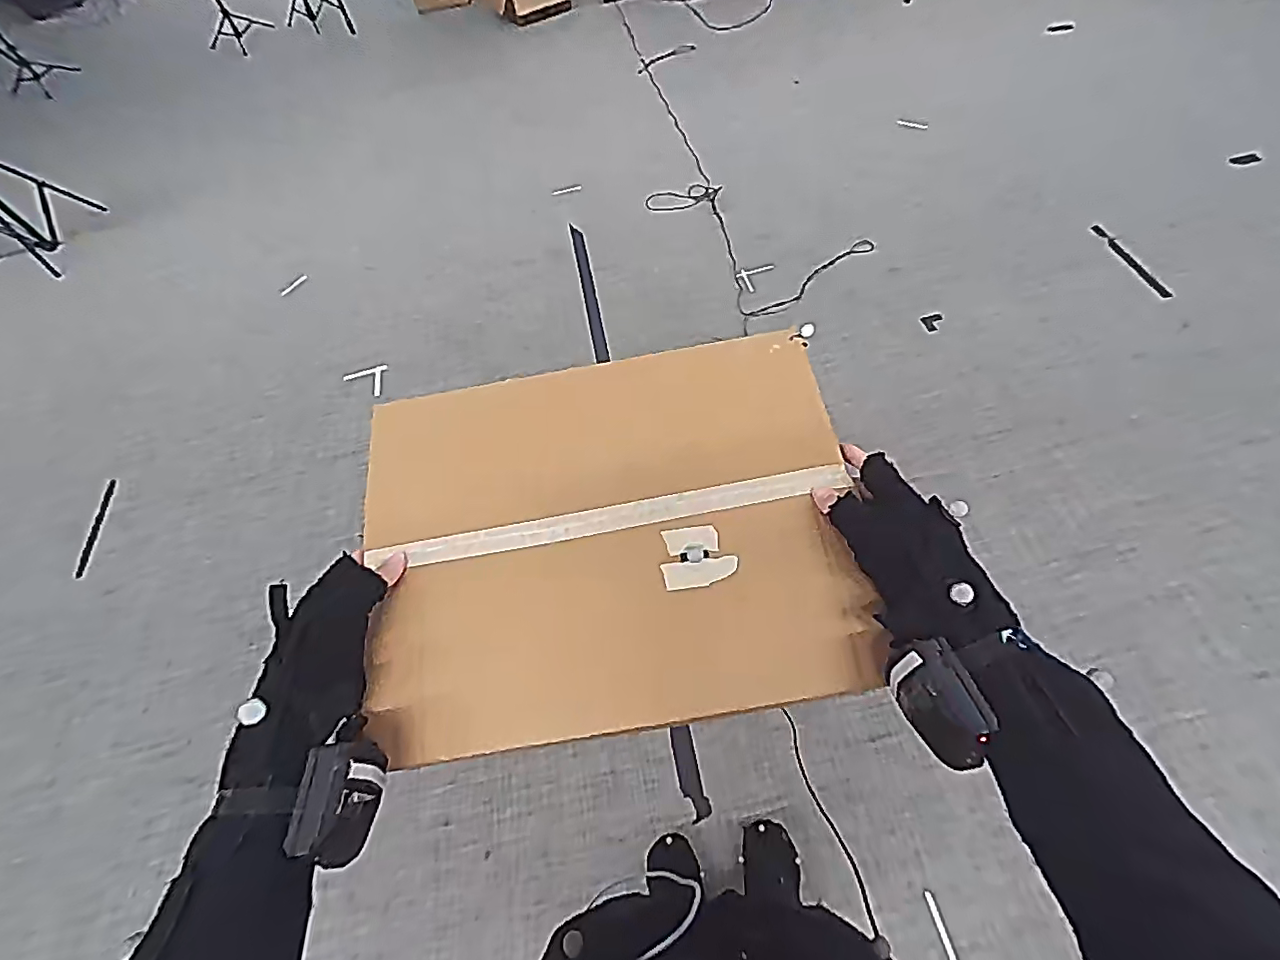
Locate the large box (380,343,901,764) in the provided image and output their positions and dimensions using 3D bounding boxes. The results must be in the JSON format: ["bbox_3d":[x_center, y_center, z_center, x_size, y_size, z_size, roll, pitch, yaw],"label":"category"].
[{"bbox_3d":[-0.013,0.100,0.596,0.408,0.320,0.320,-10,66,0],"label":"large box"}]
